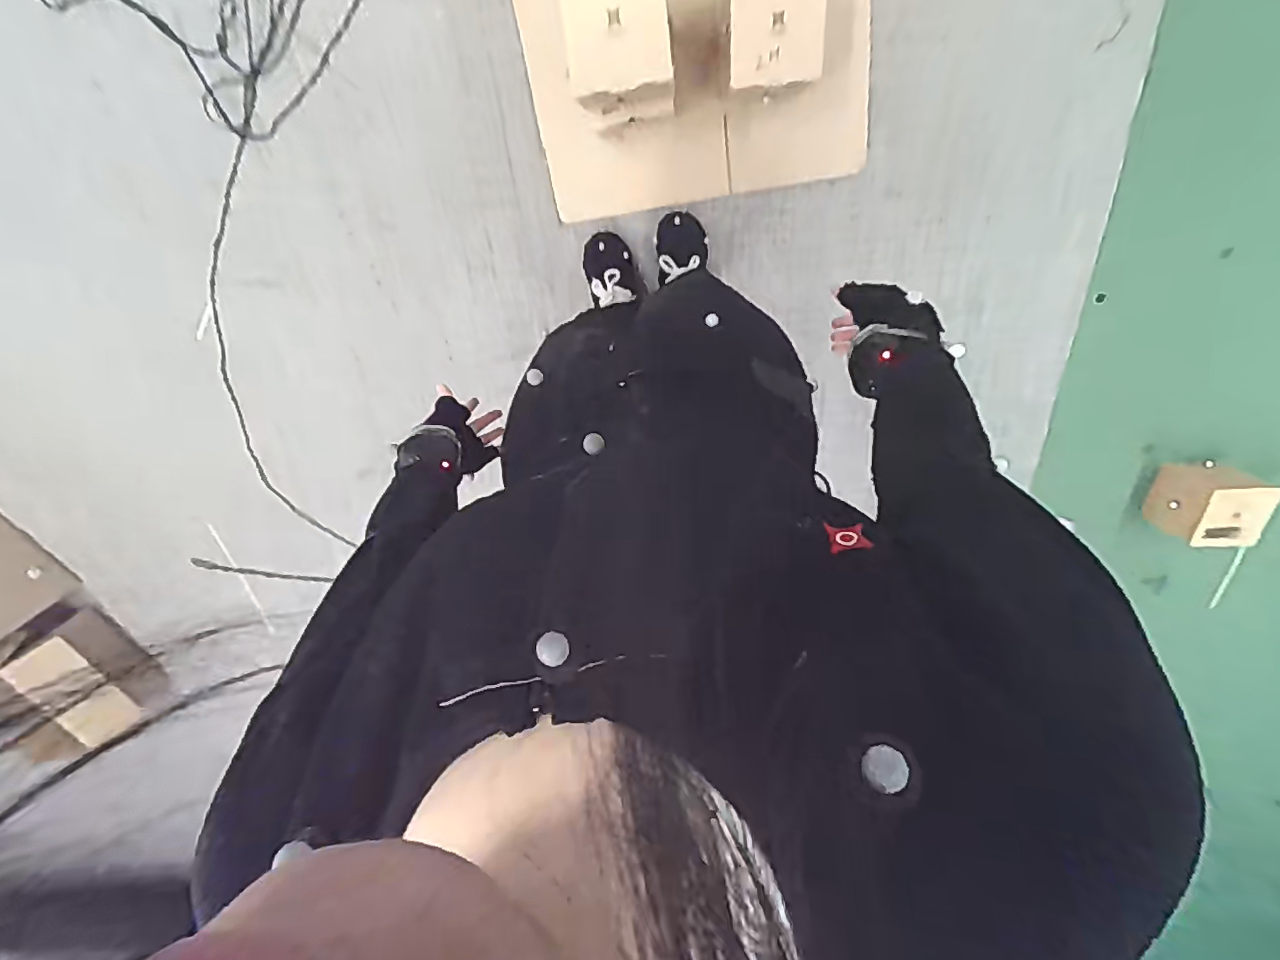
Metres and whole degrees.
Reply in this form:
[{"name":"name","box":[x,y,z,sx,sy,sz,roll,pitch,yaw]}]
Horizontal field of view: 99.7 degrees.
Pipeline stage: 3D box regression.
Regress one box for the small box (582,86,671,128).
[{"name":"small box","box":[-0.031,-0.803,1.052,0.168,0.176,0.179,-8,118,7]}]

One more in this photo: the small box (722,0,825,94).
[{"name":"small box","box":[0.242,-0.849,1.016,0.168,0.176,0.179,-2,119,5]}]

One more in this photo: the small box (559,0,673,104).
[{"name":"small box","box":[-0.038,-0.750,0.896,0.168,0.176,0.179,-6,118,6]}]
